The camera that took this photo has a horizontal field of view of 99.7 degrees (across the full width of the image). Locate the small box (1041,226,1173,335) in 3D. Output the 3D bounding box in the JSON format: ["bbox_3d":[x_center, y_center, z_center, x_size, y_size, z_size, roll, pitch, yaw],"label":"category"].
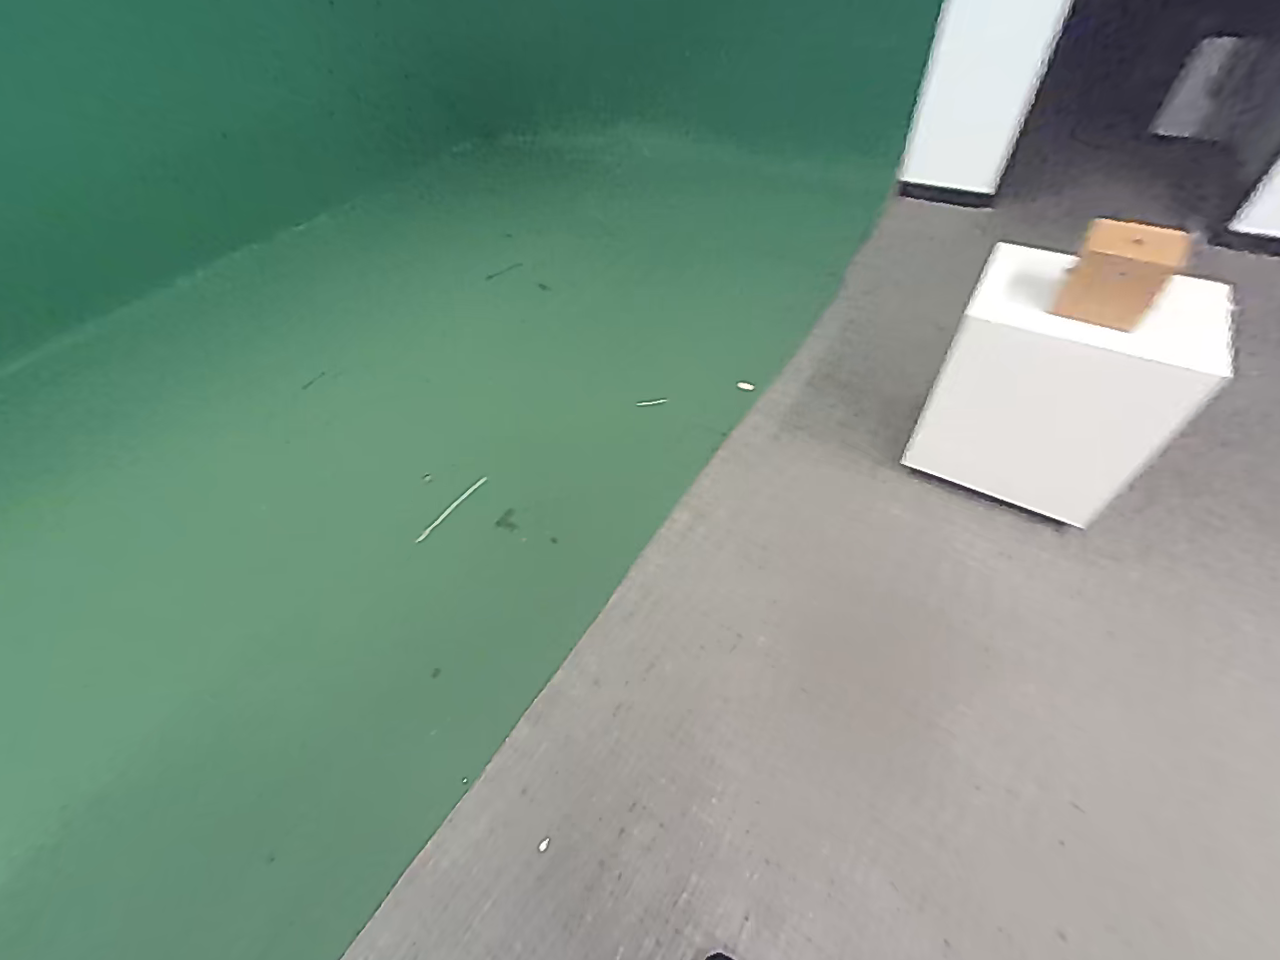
[{"bbox_3d":[1.084,-0.465,1.266,0.179,0.176,0.168,26,57,24],"label":"small box"}]
